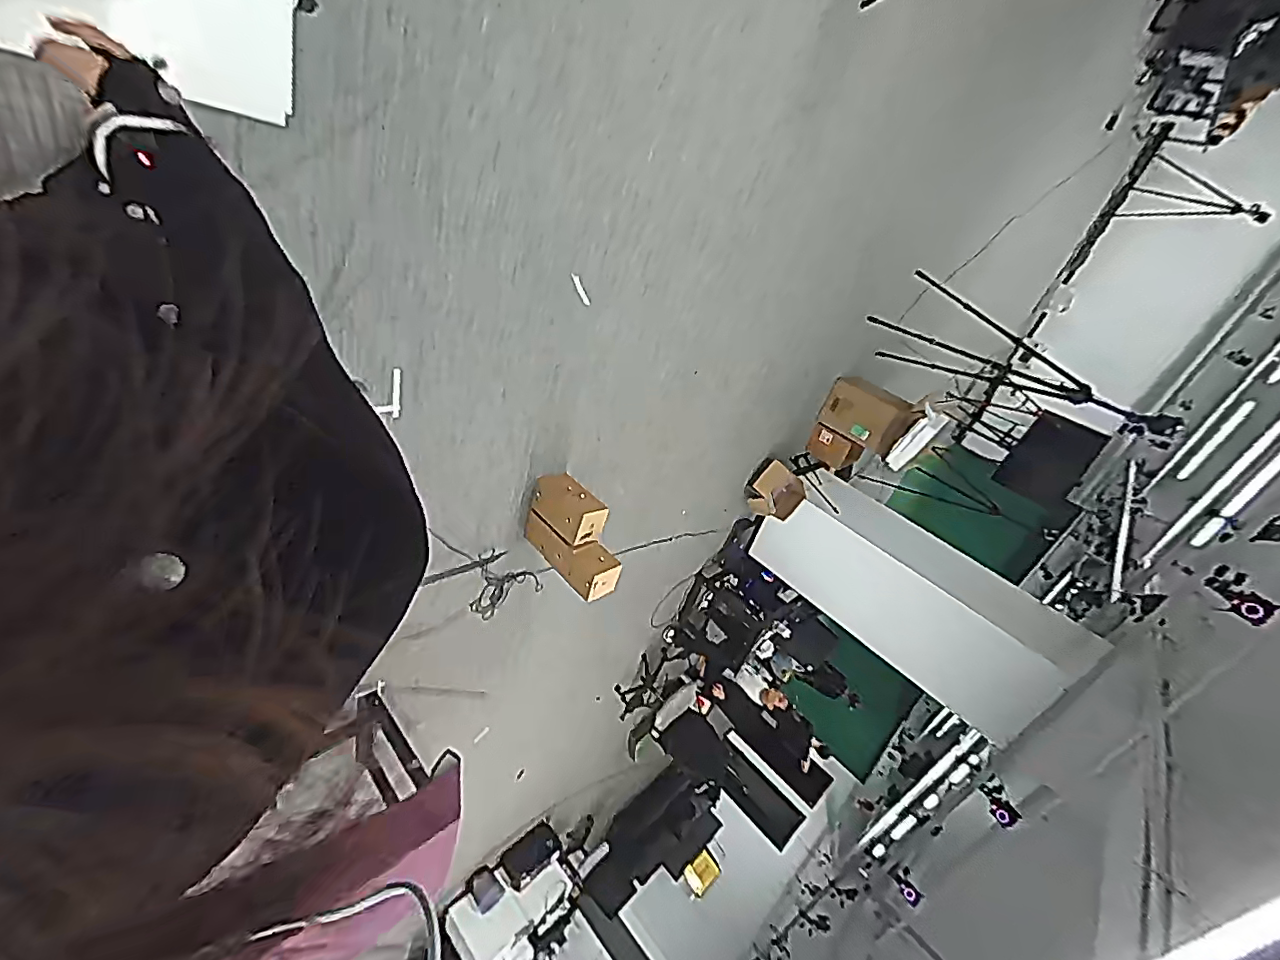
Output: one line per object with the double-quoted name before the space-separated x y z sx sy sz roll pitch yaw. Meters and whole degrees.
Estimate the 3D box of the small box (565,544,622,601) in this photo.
"small box" -0.217 0.418 2.489 0.179 0.176 0.168 -17 135 -45

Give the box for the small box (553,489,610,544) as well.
"small box" -0.273 0.162 2.467 0.168 0.176 0.179 -11 129 -49
